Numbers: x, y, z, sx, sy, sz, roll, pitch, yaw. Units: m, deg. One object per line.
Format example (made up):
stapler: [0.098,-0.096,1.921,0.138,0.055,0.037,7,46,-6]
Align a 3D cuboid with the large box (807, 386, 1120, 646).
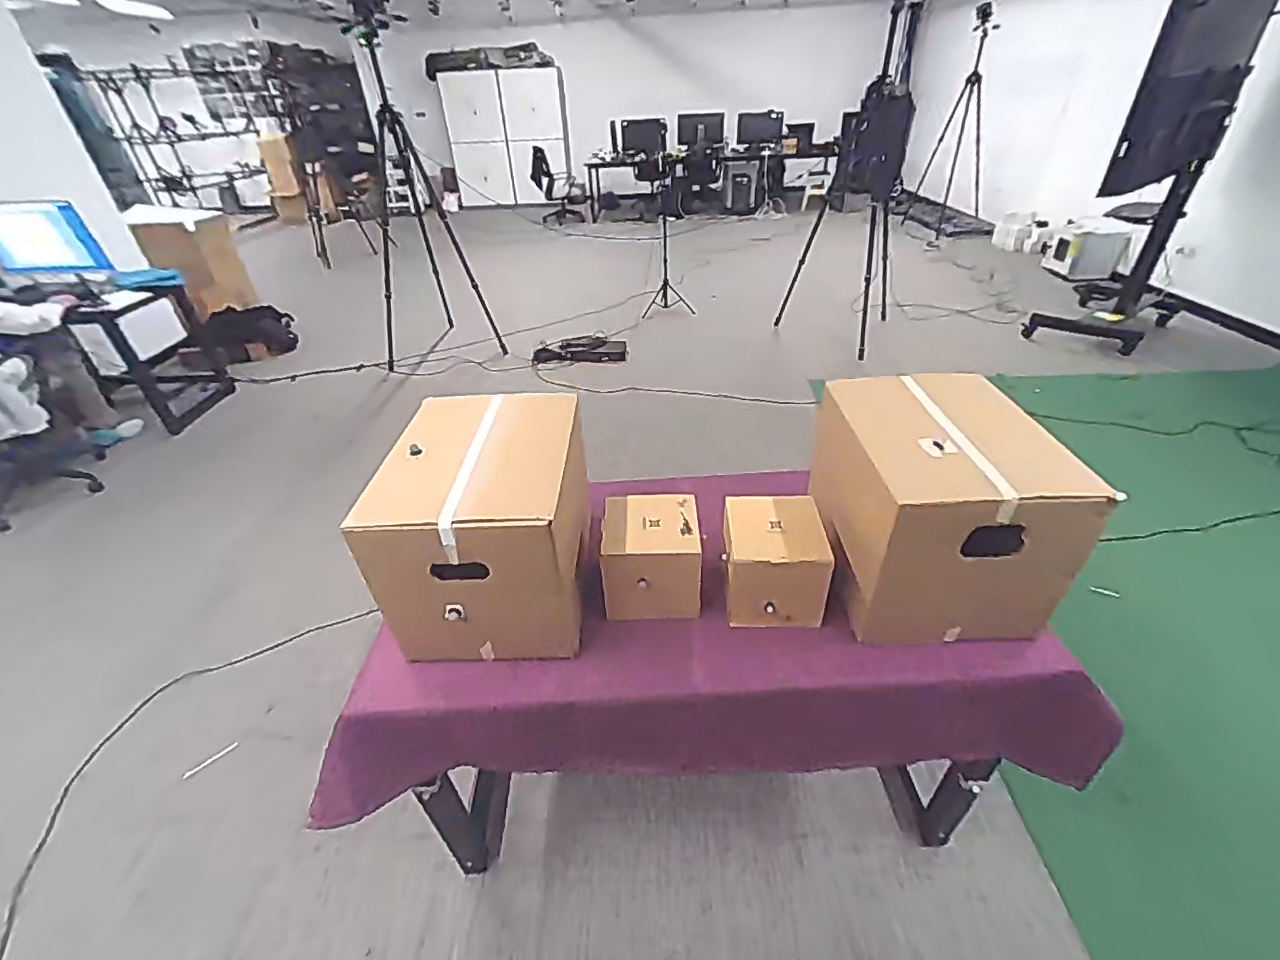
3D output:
large box: [0.535,0.052,1.016,0.320,0.320,0.408,-1,36,2]
